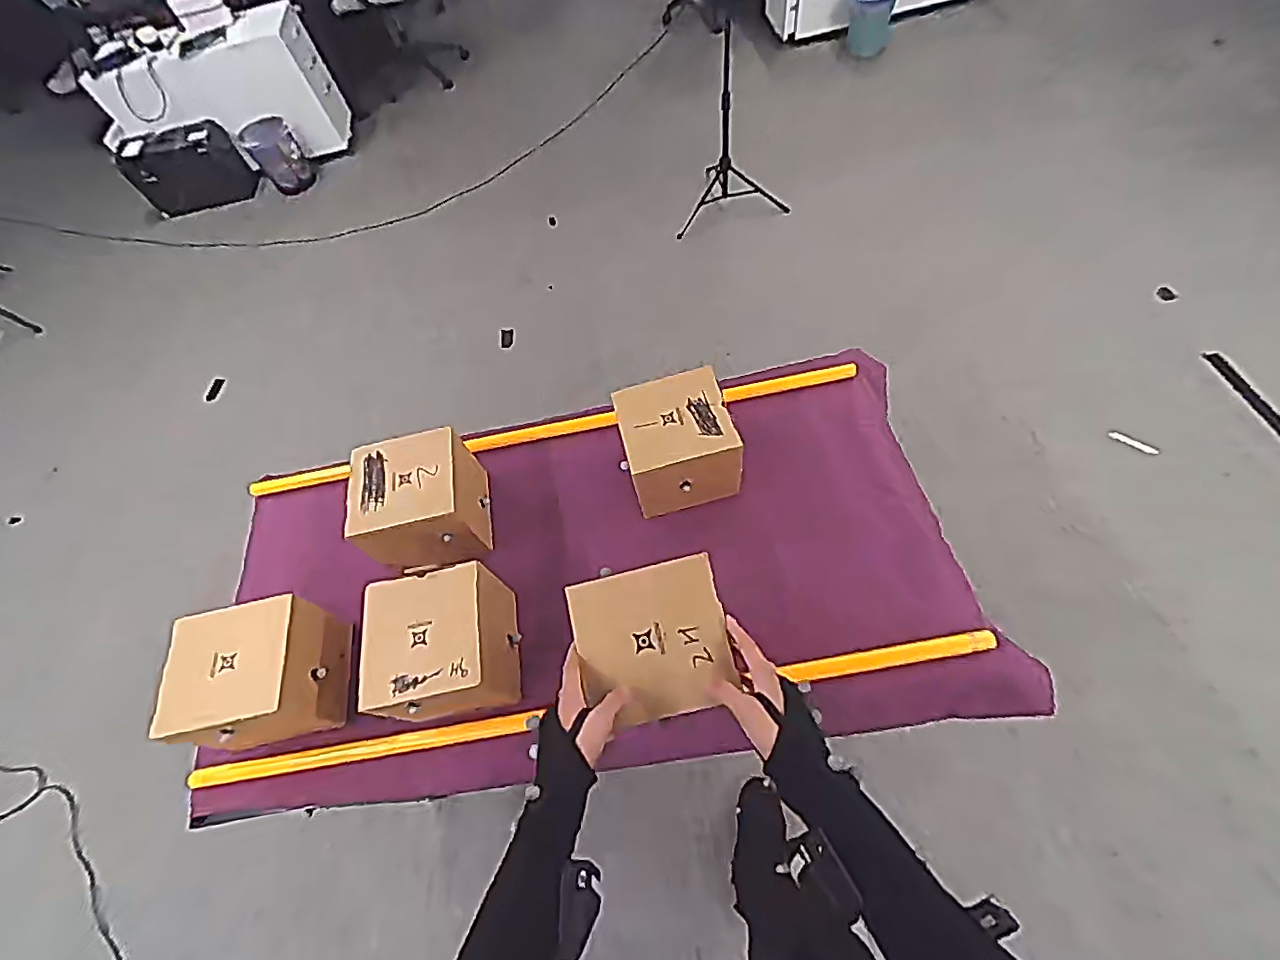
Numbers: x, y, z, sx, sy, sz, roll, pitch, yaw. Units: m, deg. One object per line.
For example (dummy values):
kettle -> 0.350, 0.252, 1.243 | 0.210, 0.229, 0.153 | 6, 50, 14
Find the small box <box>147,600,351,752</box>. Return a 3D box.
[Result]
small box -> -0.563, 0.298, 0.810 | 0.179, 0.176, 0.168 | -13, 59, 0

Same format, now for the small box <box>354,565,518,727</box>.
small box -> -0.287, 0.249, 0.795 | 0.168, 0.176, 0.179 | -13, 59, 2

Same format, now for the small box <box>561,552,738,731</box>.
small box -> 0.018, 0.202, 0.681 | 0.179, 0.176, 0.168 | -15, 72, 3

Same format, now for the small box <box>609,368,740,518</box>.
small box -> 0.060, -0.056, 0.912 | 0.179, 0.176, 0.168 | -15, 61, 1
